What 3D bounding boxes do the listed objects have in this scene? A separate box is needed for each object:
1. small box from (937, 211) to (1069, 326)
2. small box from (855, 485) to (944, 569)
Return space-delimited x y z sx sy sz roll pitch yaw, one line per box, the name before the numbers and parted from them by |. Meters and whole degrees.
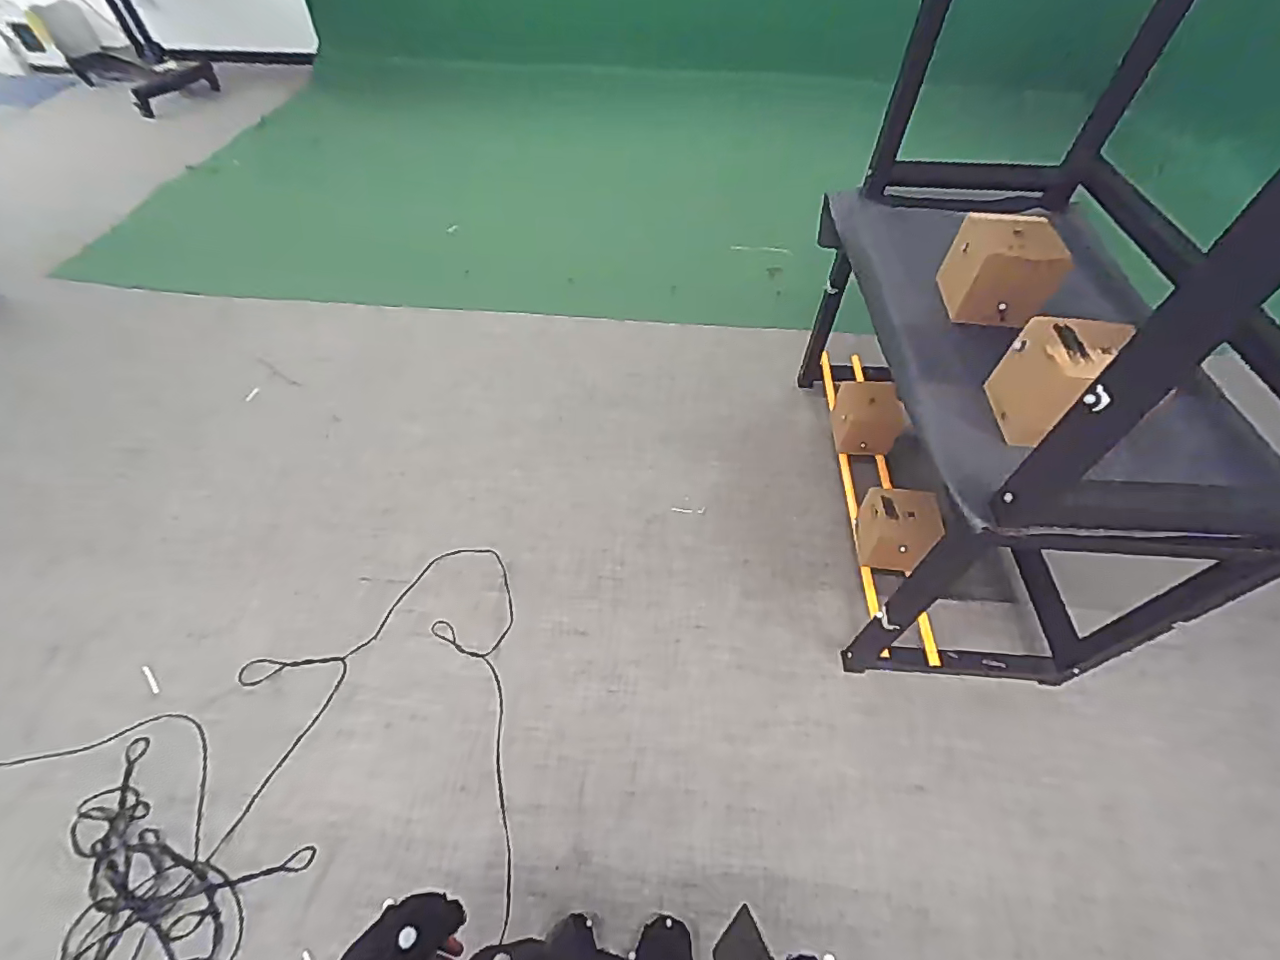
small box | 0.790 -0.469 1.202 0.168 0.176 0.179 6 53 4
small box | 0.718 0.135 1.523 0.179 0.176 0.168 6 53 4
